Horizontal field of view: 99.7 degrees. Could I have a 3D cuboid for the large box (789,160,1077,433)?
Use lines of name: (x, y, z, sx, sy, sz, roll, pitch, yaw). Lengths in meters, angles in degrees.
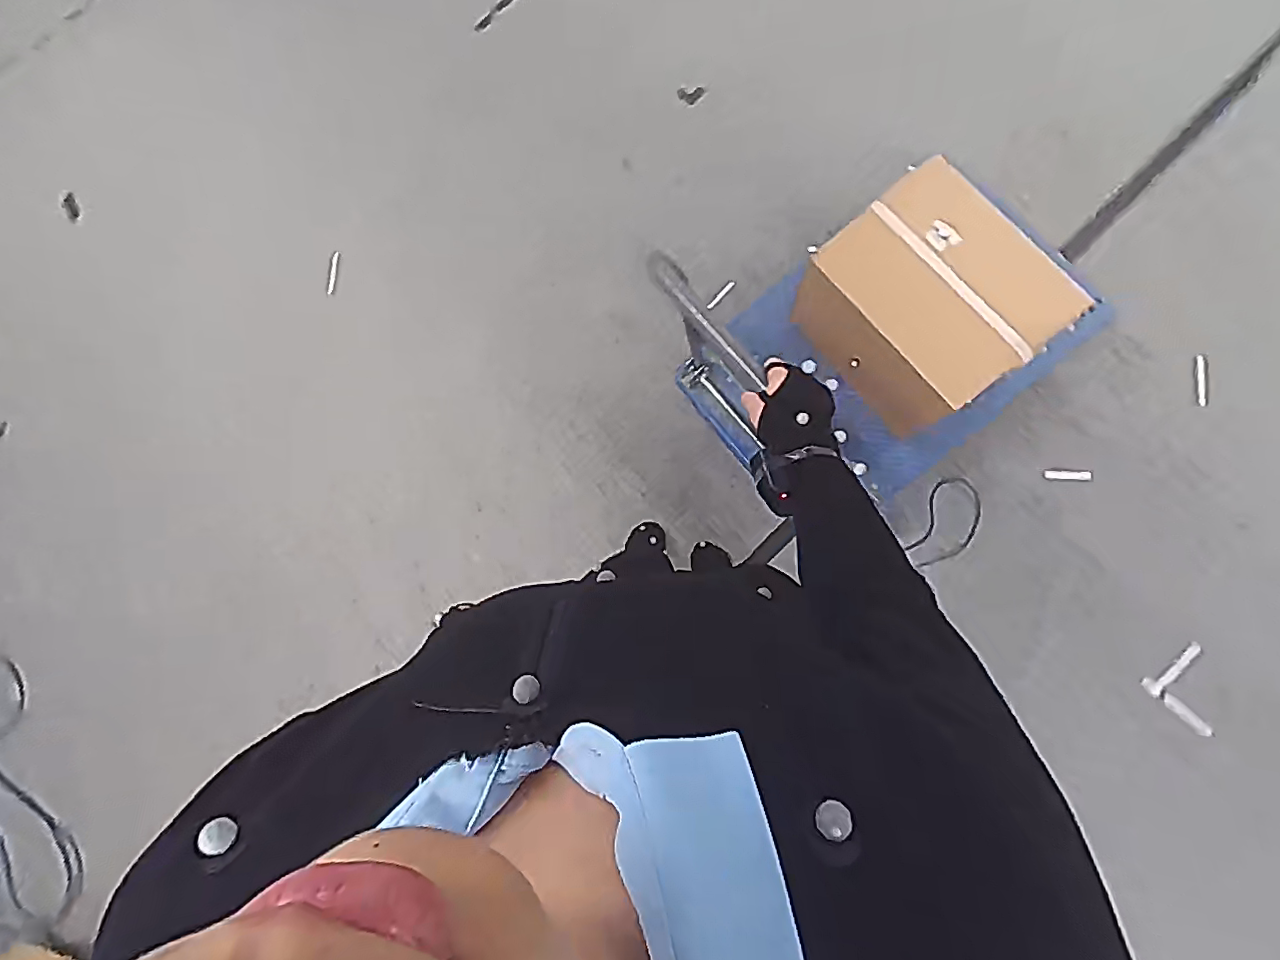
large box: (0.586, -0.369, 1.174, 0.320, 0.320, 0.408, -39, 78, 2)
